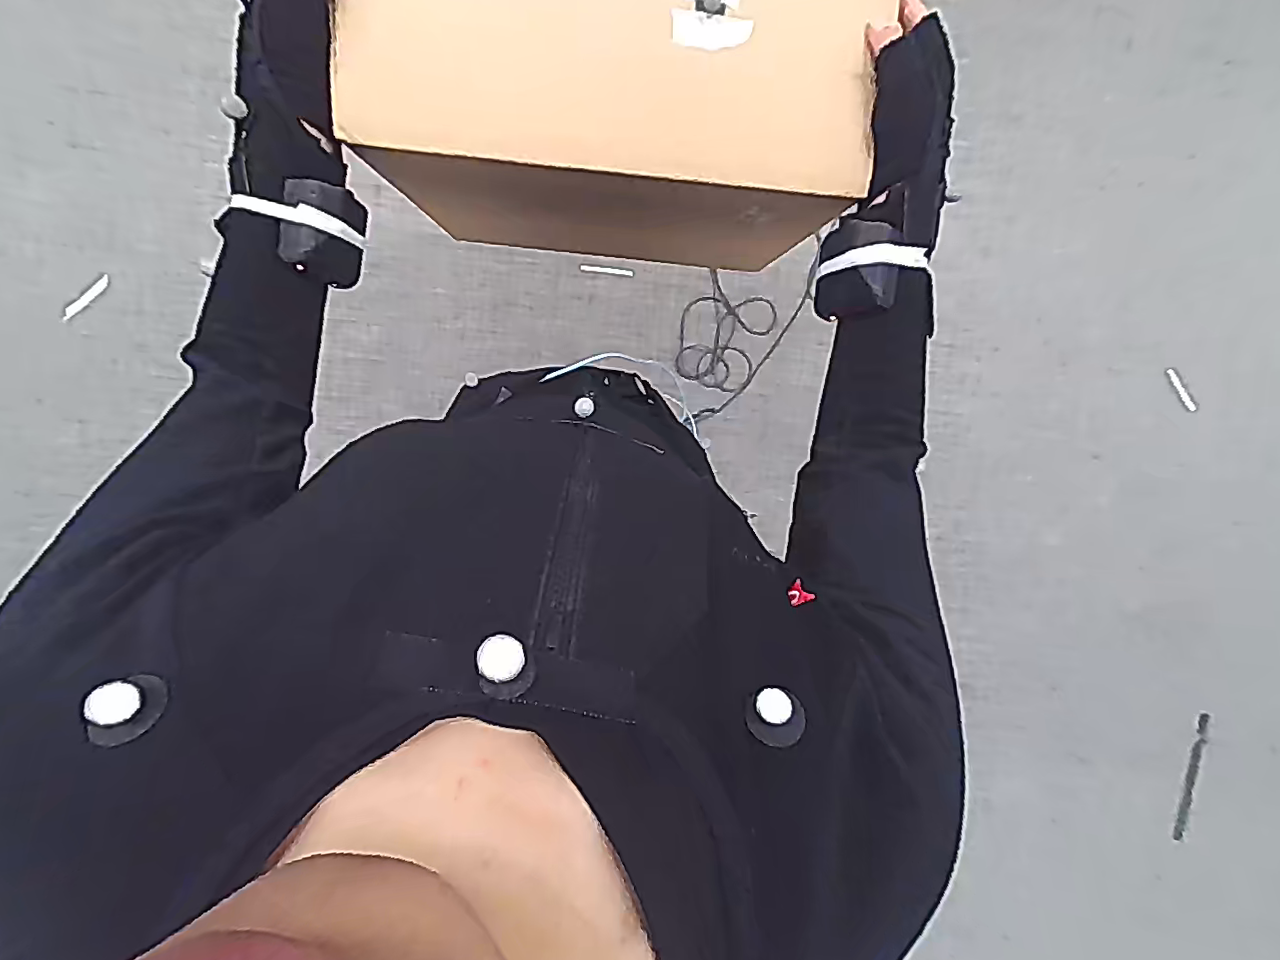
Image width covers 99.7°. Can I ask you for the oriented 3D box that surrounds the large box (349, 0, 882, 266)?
[{"bbox_3d":[-0.021,-0.419,0.542,0.408,0.320,0.320,4,102,-5],"label":"large box"}]
